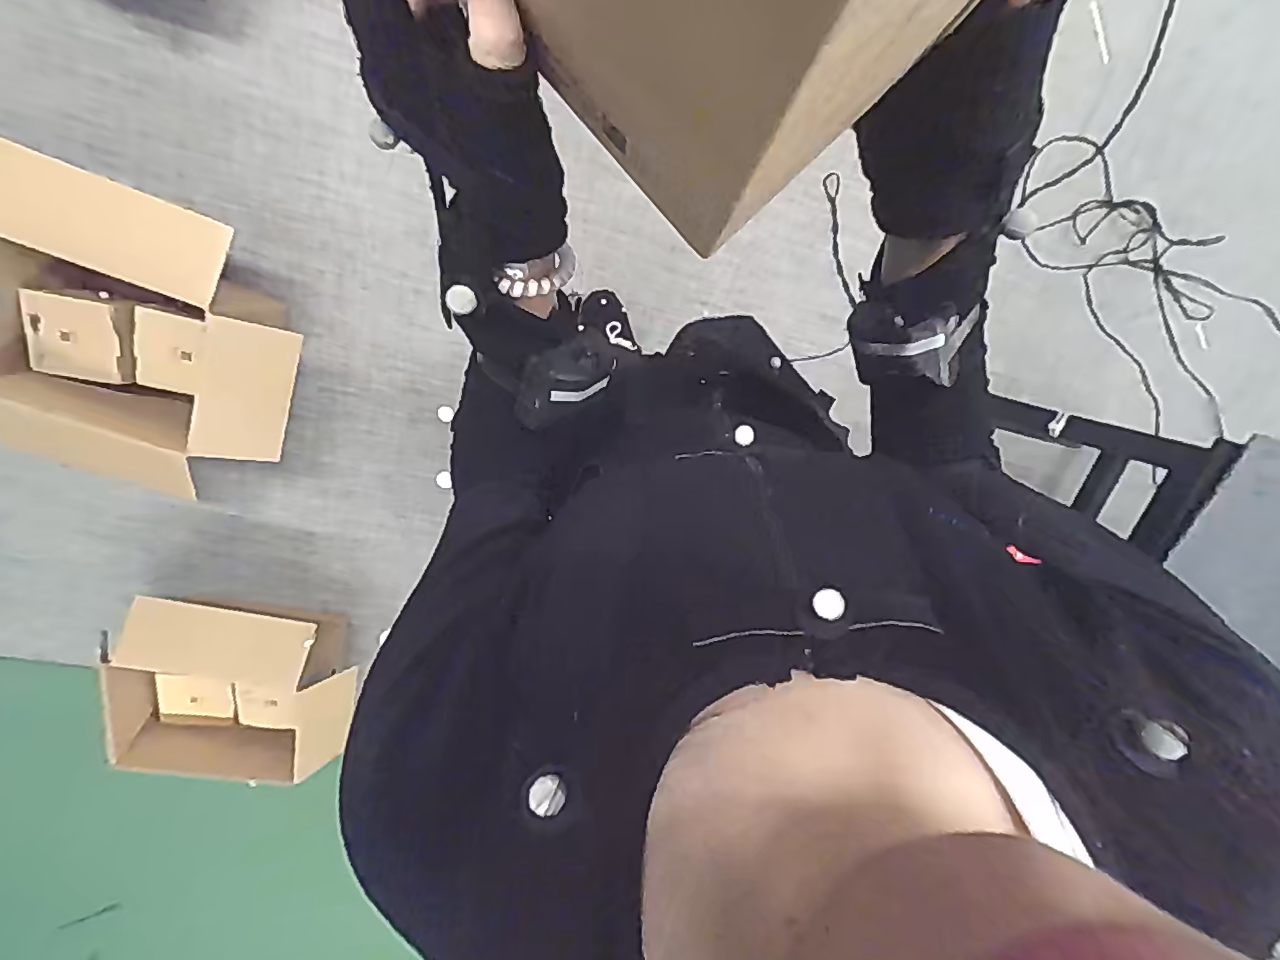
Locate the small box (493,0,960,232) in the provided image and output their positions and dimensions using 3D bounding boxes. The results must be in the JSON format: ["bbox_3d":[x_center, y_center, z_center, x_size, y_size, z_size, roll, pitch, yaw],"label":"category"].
[{"bbox_3d":[0.038,-0.216,0.165,0.179,0.176,0.168,-43,95,1],"label":"small box"}]
